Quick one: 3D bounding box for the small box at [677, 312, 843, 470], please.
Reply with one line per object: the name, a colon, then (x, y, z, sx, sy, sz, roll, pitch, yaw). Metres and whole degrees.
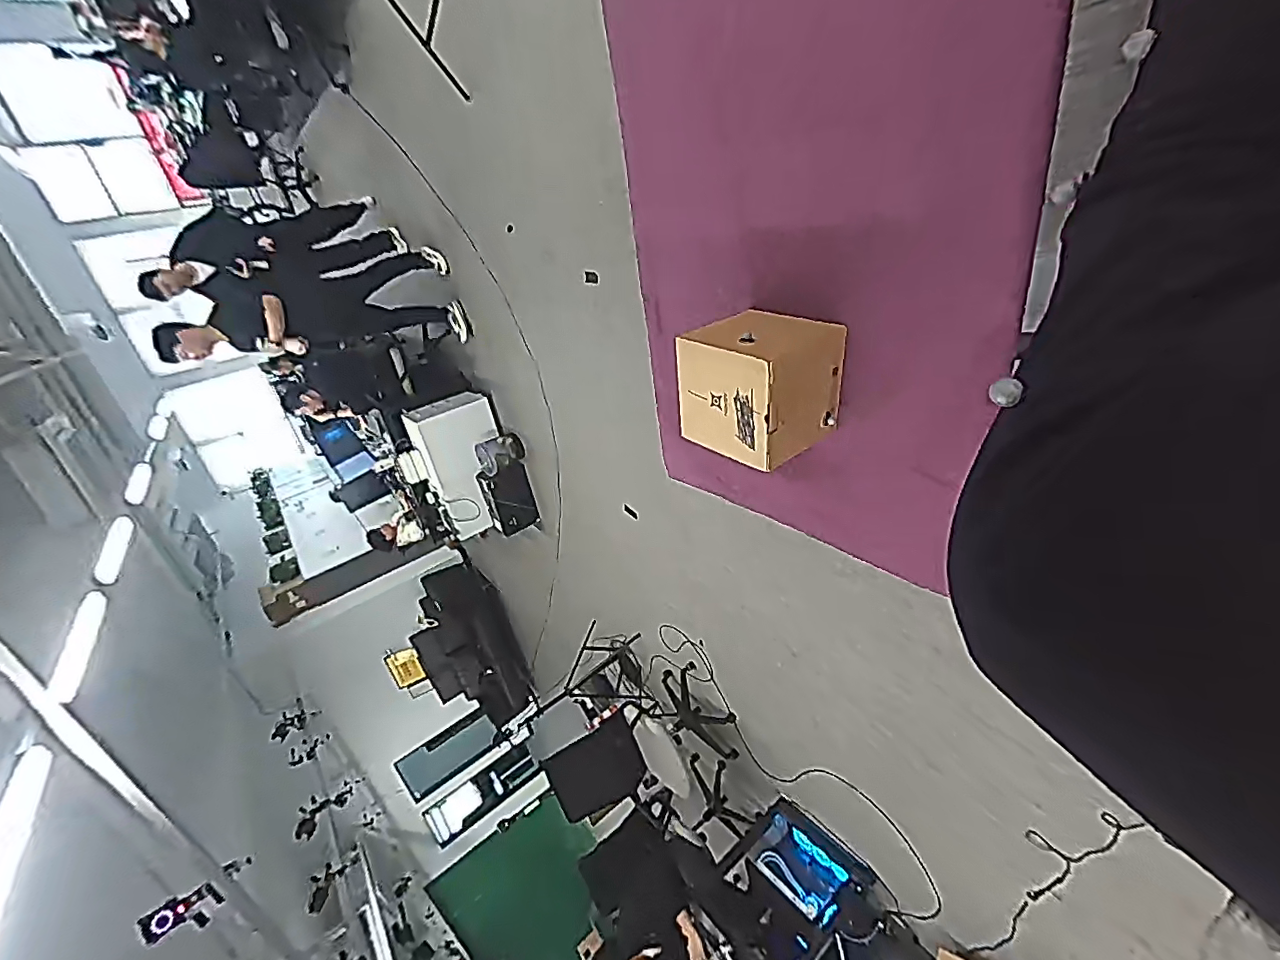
small box: (0.178, -0.142, 0.806, 0.179, 0.176, 0.168, 30, 137, 44)
